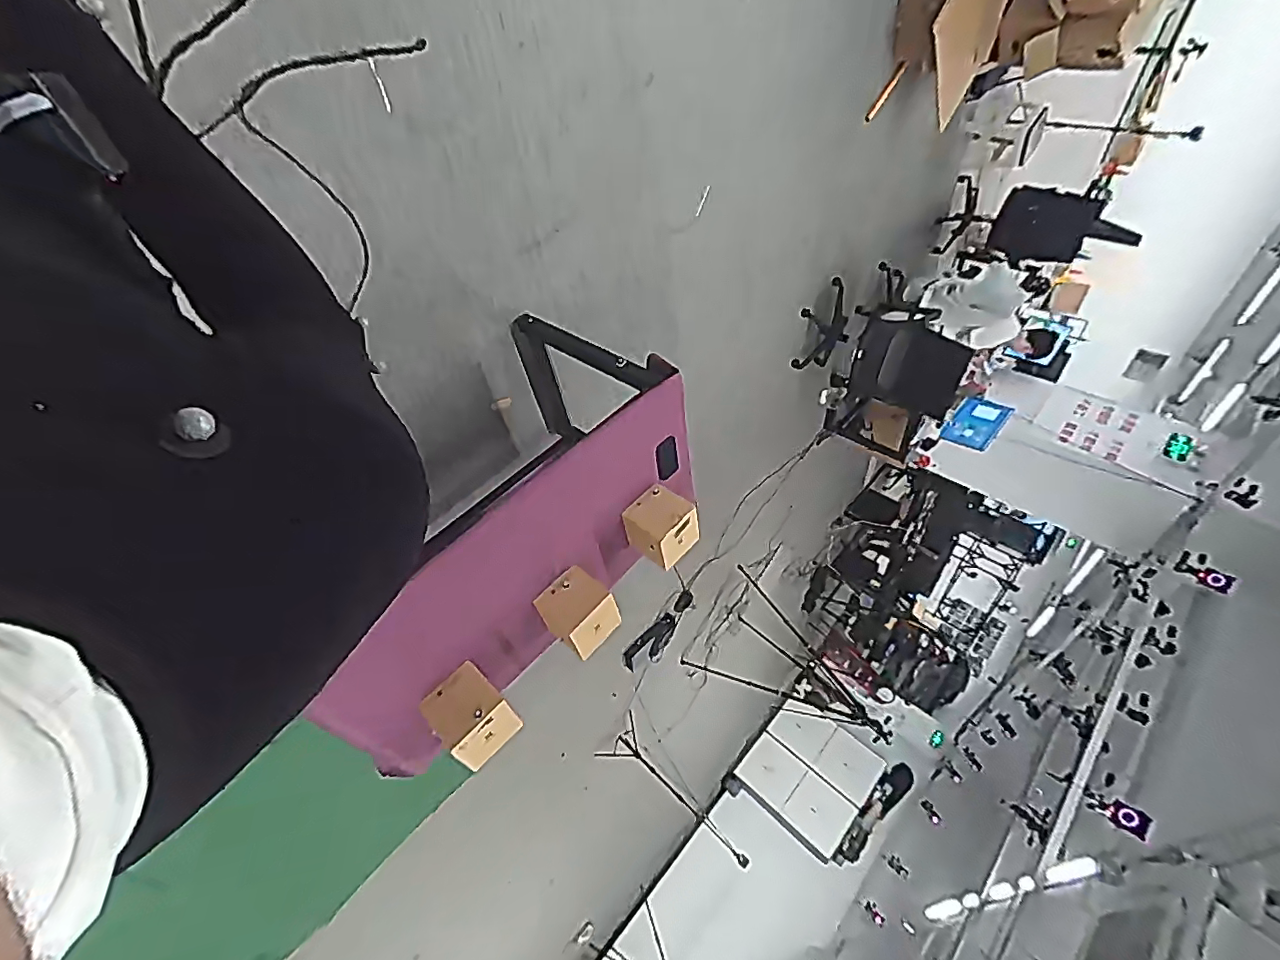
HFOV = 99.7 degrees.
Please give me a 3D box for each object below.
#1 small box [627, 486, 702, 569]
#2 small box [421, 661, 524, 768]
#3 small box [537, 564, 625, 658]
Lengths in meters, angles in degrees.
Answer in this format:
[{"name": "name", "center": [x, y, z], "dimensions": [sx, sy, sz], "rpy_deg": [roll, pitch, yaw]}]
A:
[{"name": "small box", "center": [0.078, 0.142, 1.708], "dimensions": [0.168, 0.176, 0.179], "rpy_deg": [-41, 144, -23]}, {"name": "small box", "center": [-0.439, 0.613, 1.426], "dimensions": [0.168, 0.176, 0.179], "rpy_deg": [-41, 144, -25]}, {"name": "small box", "center": [-0.172, 0.379, 1.584], "dimensions": [0.168, 0.176, 0.179], "rpy_deg": [-42, 144, -24]}]
